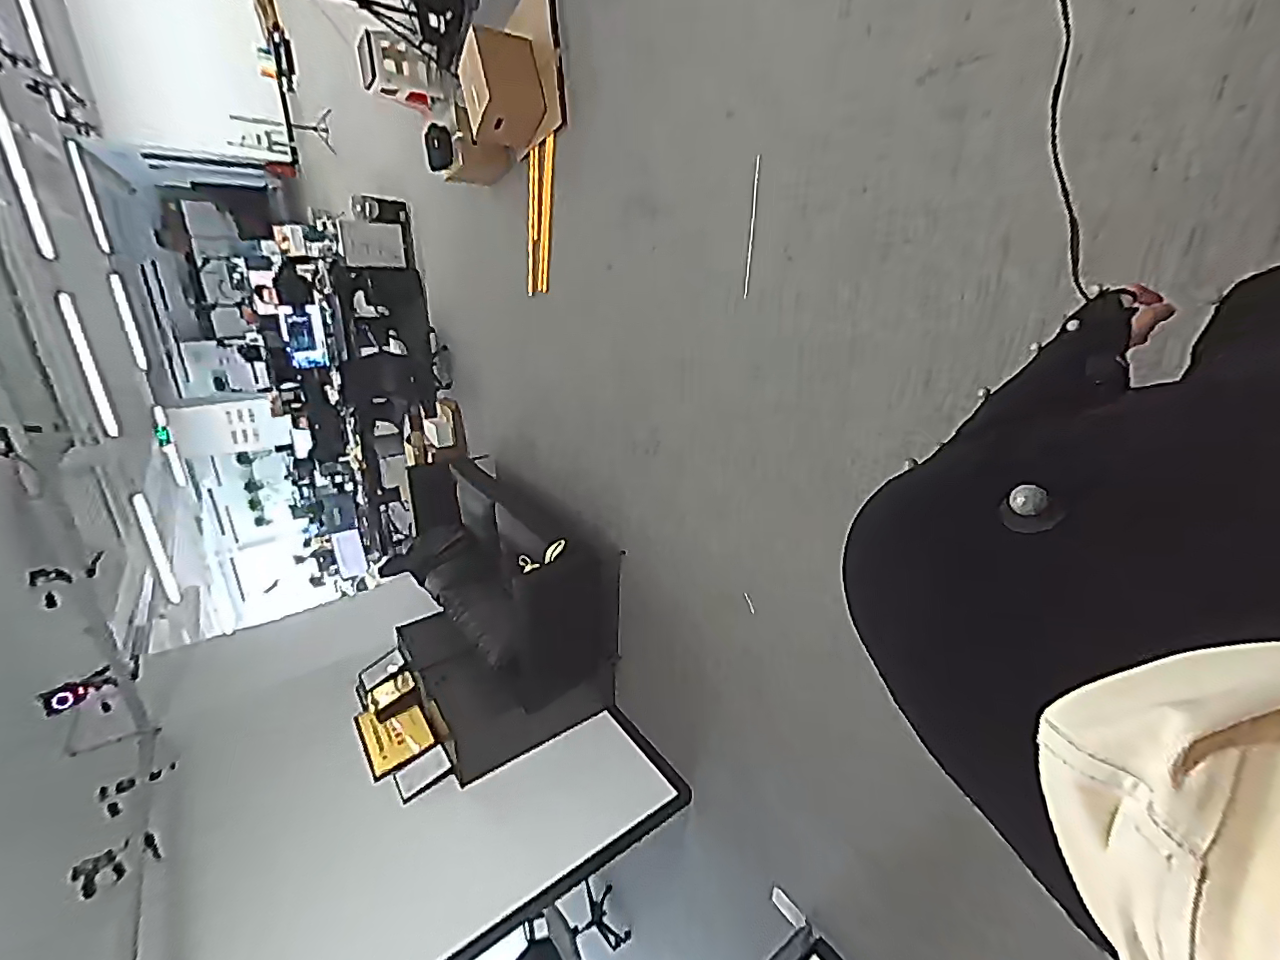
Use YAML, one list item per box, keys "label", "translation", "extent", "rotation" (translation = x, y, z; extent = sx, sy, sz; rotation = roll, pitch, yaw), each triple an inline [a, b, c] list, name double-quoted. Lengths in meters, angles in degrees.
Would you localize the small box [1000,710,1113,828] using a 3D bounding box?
- label: "small box"
  translation: [1.090, 0.747, 1.414]
  extent: [0.168, 0.176, 0.179]
  rotation: [32, 127, 43]
